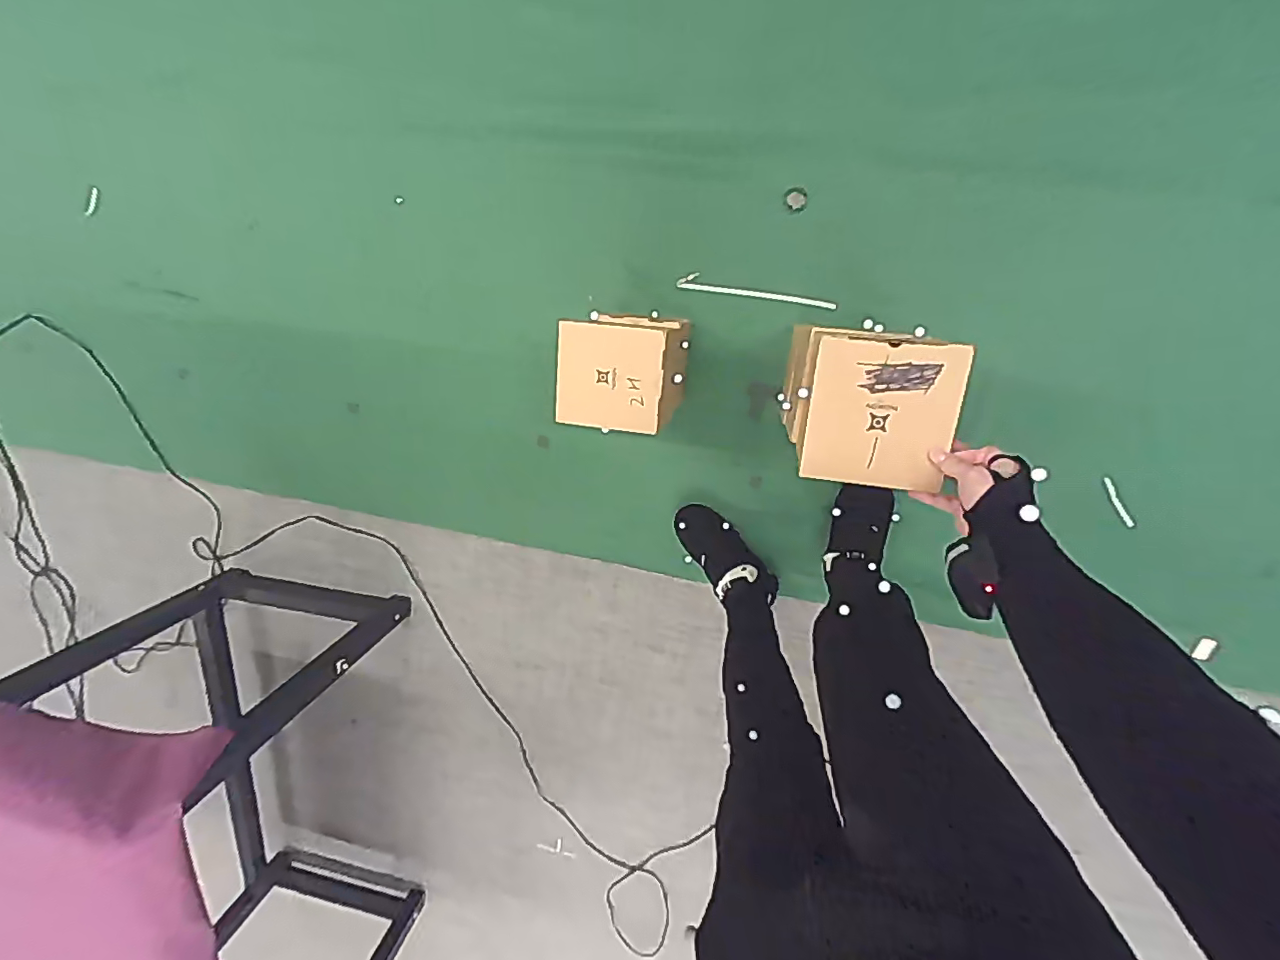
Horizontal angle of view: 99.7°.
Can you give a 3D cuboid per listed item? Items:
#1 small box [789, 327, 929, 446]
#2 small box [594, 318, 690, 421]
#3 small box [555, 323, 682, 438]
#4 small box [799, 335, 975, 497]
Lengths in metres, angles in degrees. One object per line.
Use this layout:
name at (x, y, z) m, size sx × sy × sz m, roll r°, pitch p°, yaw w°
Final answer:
small box at (0.336, -0.146, 0.865) m, size 0.168 × 0.176 × 0.179 m, roll 8°, pitch 108°, yaw 9°
small box at (0.004, -0.228, 1.089) m, size 0.168 × 0.176 × 0.179 m, roll 8°, pitch 107°, yaw 10°
small box at (-0.032, -0.179, 0.936) m, size 0.179 × 0.176 × 0.168 m, roll 8°, pitch 108°, yaw 10°
small box at (0.304, -0.095, 0.707) m, size 0.168 × 0.176 × 0.179 m, roll 8°, pitch 109°, yaw 14°
